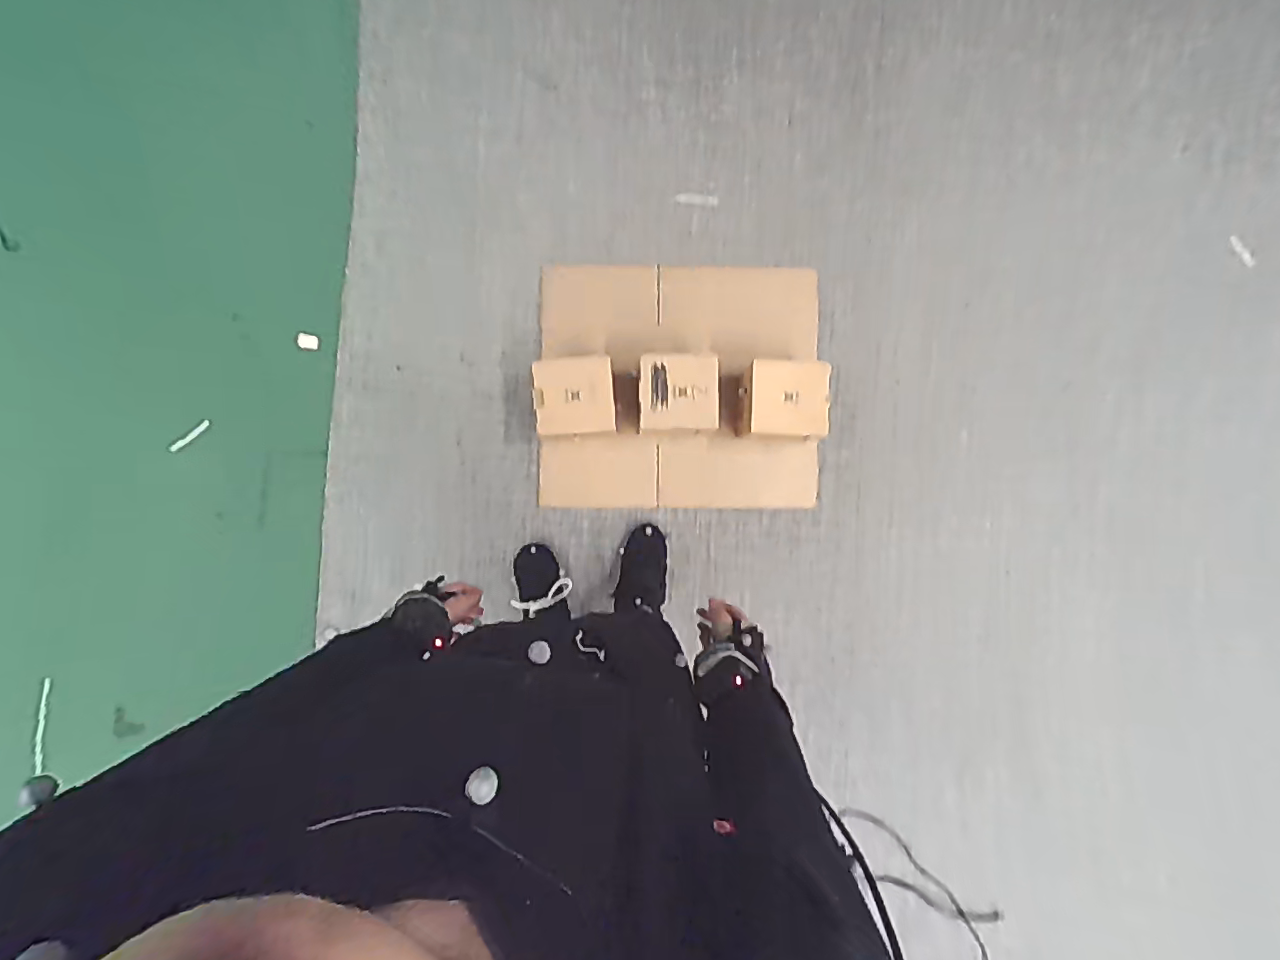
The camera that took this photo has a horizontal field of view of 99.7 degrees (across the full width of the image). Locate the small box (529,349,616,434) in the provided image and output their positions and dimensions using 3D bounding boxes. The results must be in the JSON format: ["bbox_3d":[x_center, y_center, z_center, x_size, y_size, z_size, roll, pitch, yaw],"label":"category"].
[{"bbox_3d":[-0.150,-0.199,1.255,0.179,0.176,0.168,-5,91,-2],"label":"small box"}]

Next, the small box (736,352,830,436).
[{"bbox_3d":[0.326,-0.194,1.263,0.179,0.176,0.168,2,89,-2],"label":"small box"}]
